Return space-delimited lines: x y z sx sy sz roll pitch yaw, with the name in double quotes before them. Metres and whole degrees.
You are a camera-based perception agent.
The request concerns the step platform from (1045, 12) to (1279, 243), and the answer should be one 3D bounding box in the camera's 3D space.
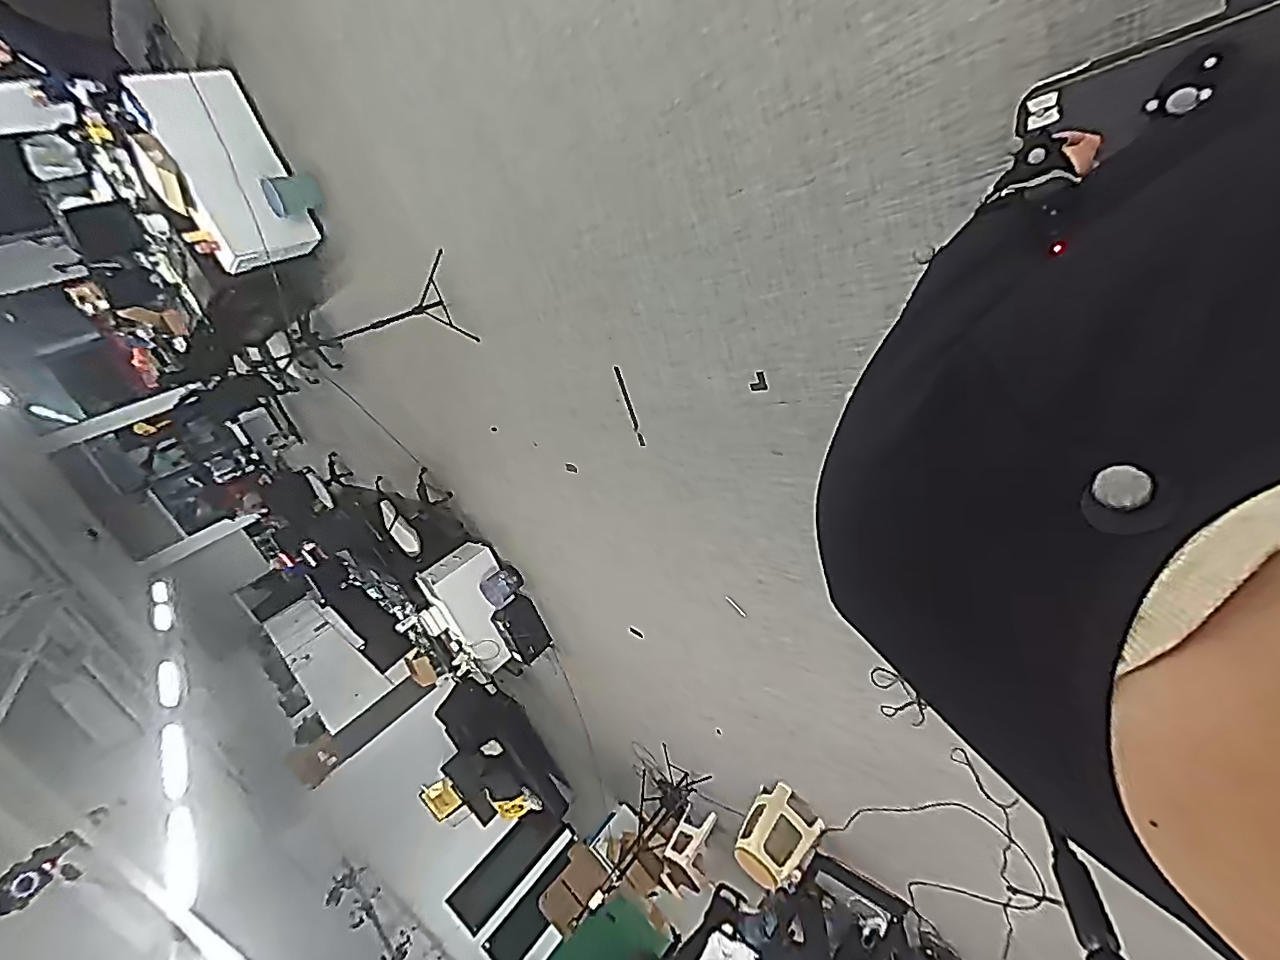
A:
"step platform" 1.048 -0.580 0.831 0.684 0.204 0.286 9 125 44
